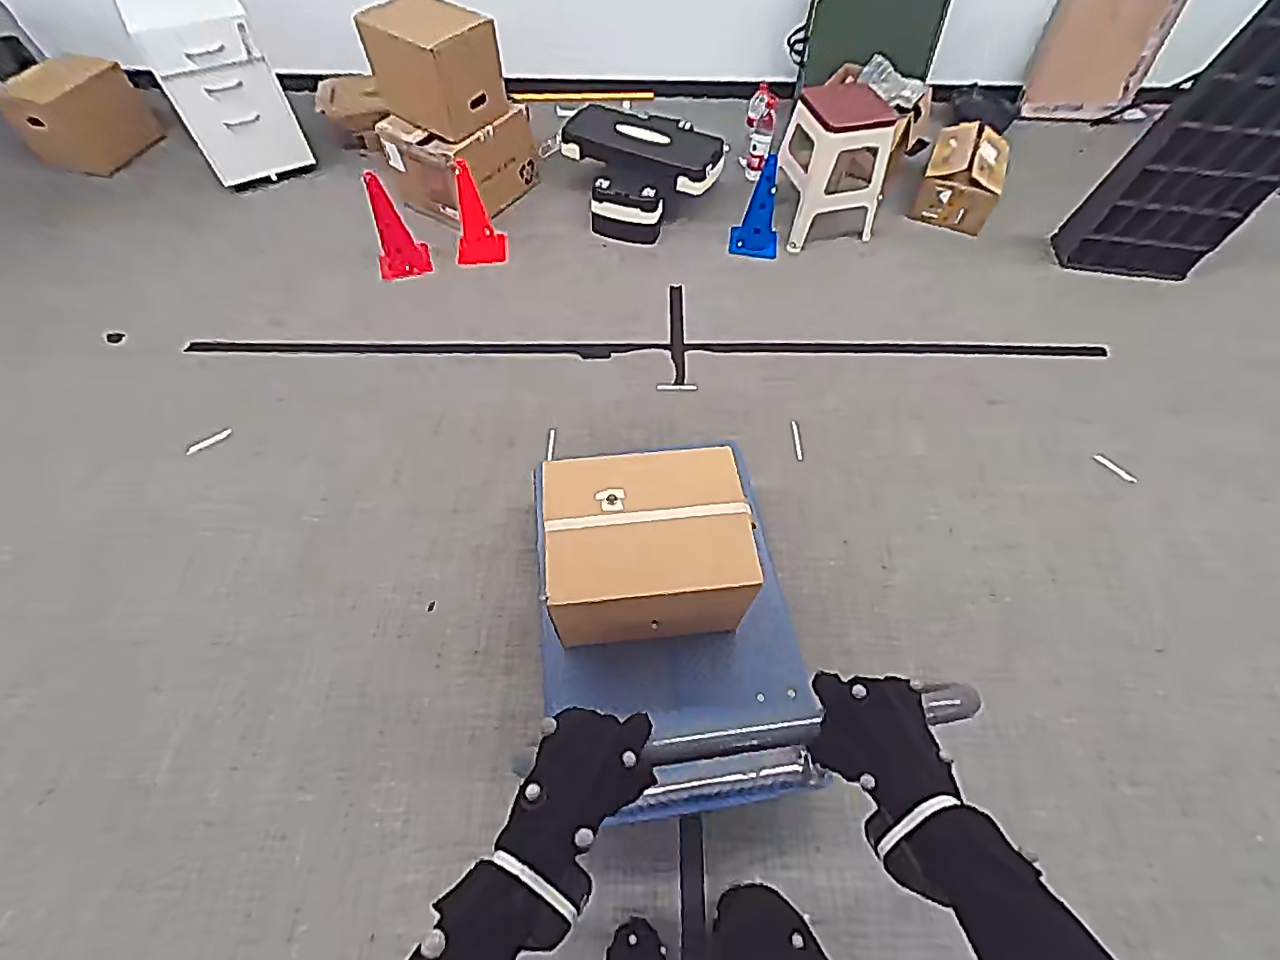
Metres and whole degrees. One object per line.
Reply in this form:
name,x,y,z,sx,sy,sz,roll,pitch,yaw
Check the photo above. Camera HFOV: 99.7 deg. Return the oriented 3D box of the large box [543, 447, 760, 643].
large box,0.012,0.154,1.201,0.408,0.320,0.320,-6,59,-4
